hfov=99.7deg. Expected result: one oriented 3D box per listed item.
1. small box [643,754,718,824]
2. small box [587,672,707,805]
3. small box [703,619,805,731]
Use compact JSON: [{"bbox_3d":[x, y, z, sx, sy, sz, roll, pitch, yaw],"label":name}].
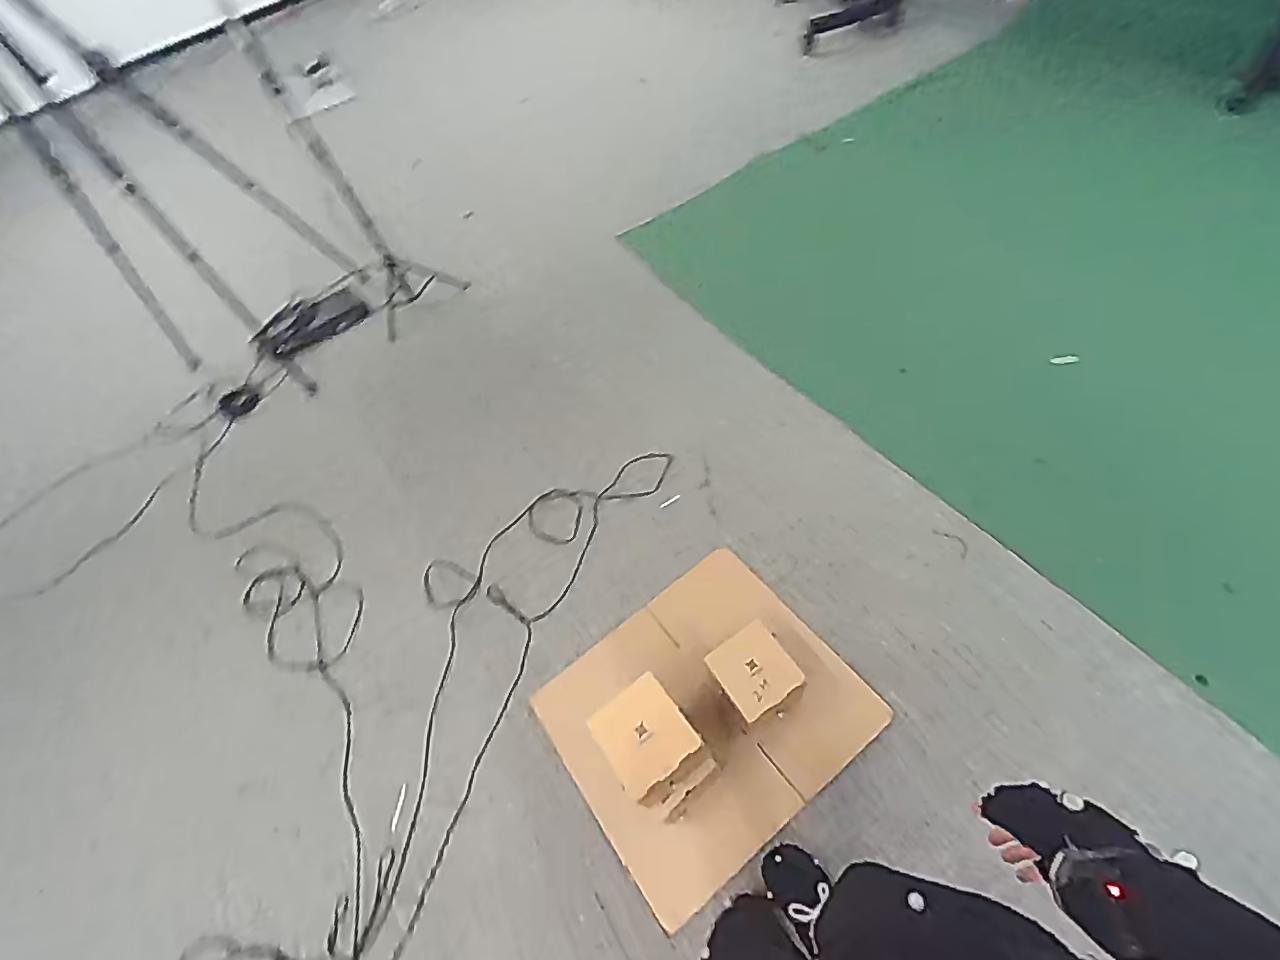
[{"bbox_3d":[0.061,0.644,1.228,0.168,0.176,0.179,-39,57,-14],"label":"small box"},{"bbox_3d":[0.019,0.535,1.112,0.168,0.176,0.179,-36,57,-13],"label":"small box"},{"bbox_3d":[0.270,0.474,1.300,0.168,0.176,0.179,-33,57,-9],"label":"small box"}]
